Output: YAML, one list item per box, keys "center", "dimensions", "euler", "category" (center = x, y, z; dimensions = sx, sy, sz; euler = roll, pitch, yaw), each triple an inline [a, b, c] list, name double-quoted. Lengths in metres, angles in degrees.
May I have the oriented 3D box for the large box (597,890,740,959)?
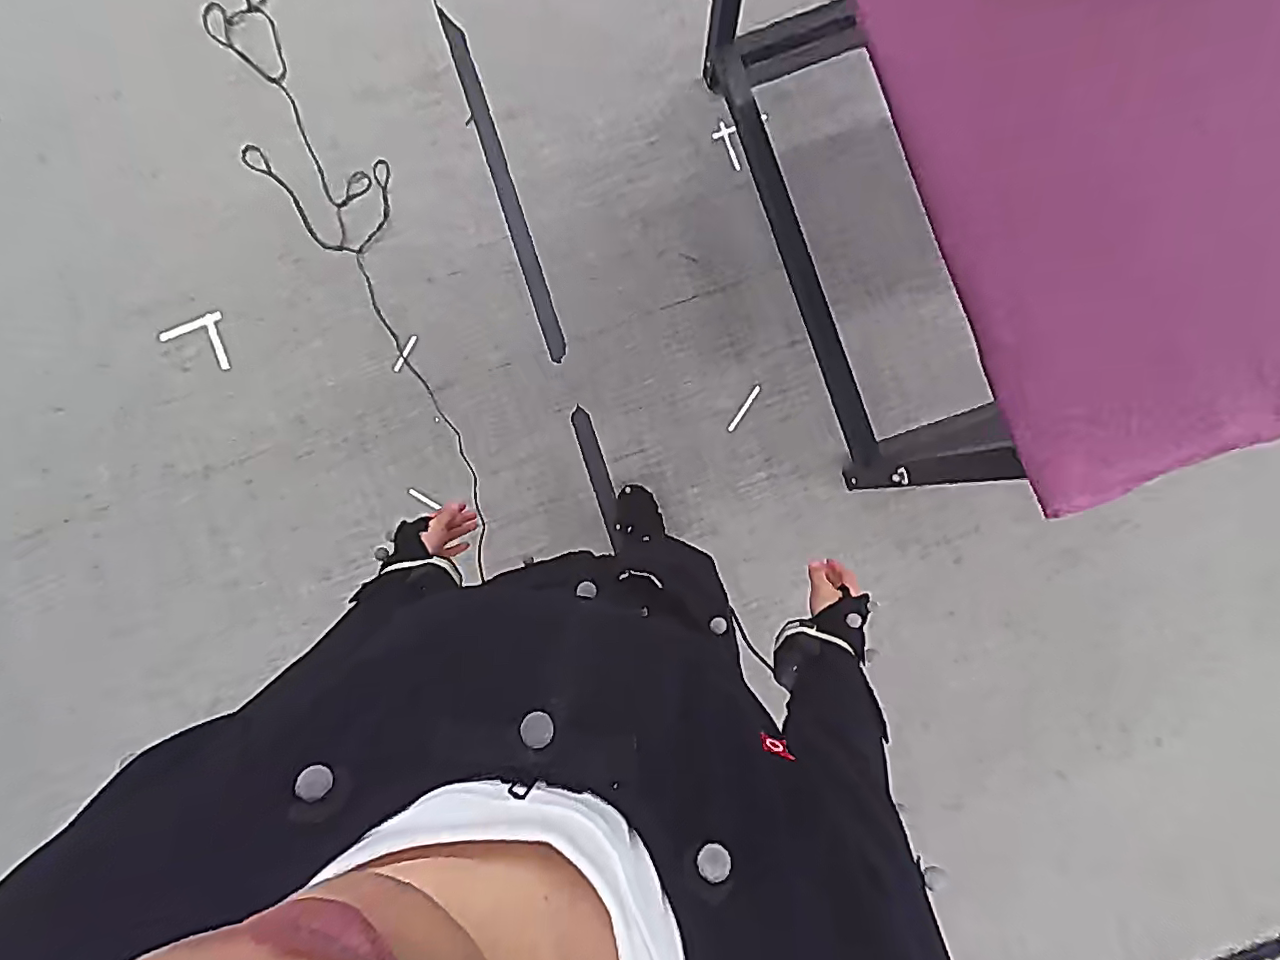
- center: [0.106, 1.249, 1.196]
  dimensions: [0.320, 0.320, 0.408]
  euler: [-20, 86, 0]
  category: "large box"
